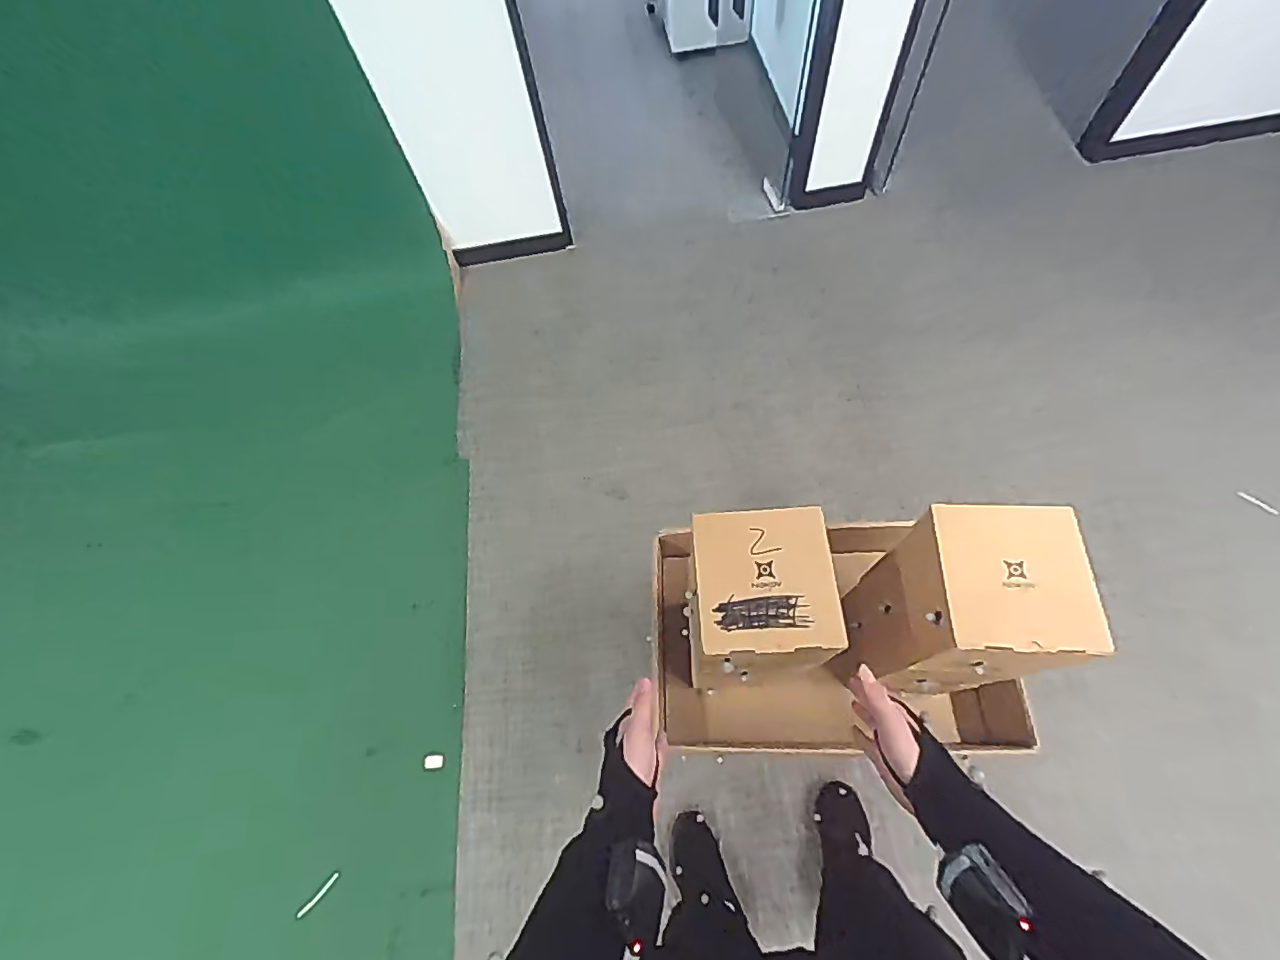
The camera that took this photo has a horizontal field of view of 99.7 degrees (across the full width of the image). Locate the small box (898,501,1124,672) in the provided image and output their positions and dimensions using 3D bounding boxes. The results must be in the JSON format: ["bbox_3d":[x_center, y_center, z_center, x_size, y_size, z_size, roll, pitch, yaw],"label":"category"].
[{"bbox_3d":[0.448,0.140,0.692,0.168,0.176,0.179,0,64,7],"label":"small box"}]

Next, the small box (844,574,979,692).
[{"bbox_3d":[0.479,0.281,0.983,0.168,0.176,0.179,1,65,7],"label":"small box"}]

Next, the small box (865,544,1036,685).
[{"bbox_3d":[0.461,0.211,0.836,0.168,0.176,0.179,1,64,6],"label":"small box"}]

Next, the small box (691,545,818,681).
[{"bbox_3d":[0.169,0.216,0.861,0.168,0.176,0.179,-4,64,3],"label":"small box"}]
